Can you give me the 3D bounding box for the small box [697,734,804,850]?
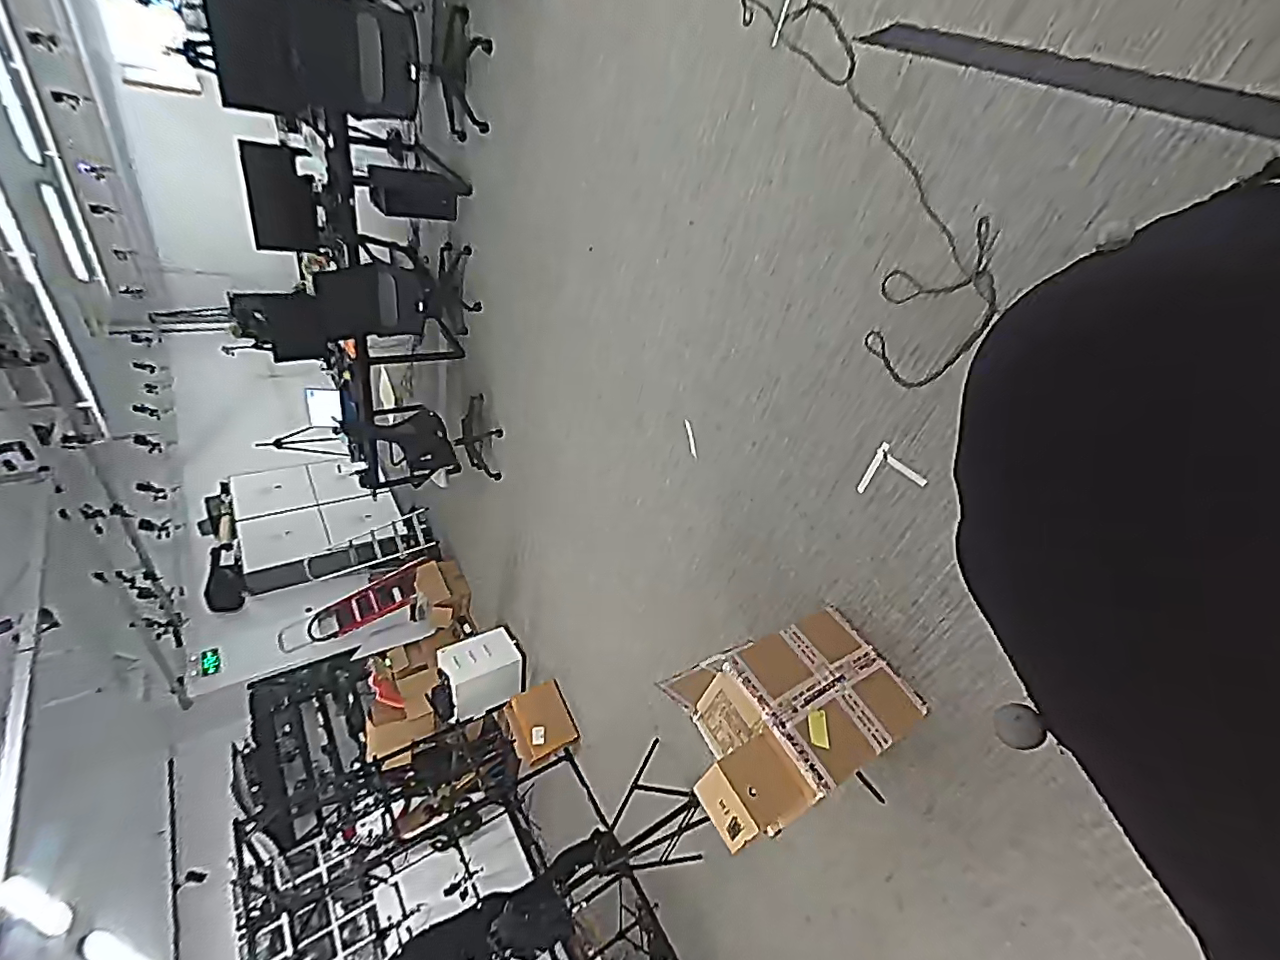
[{"bbox_3d":[0.285,0.794,1.387,0.179,0.176,0.168,52,137,33],"label":"small box"}]
